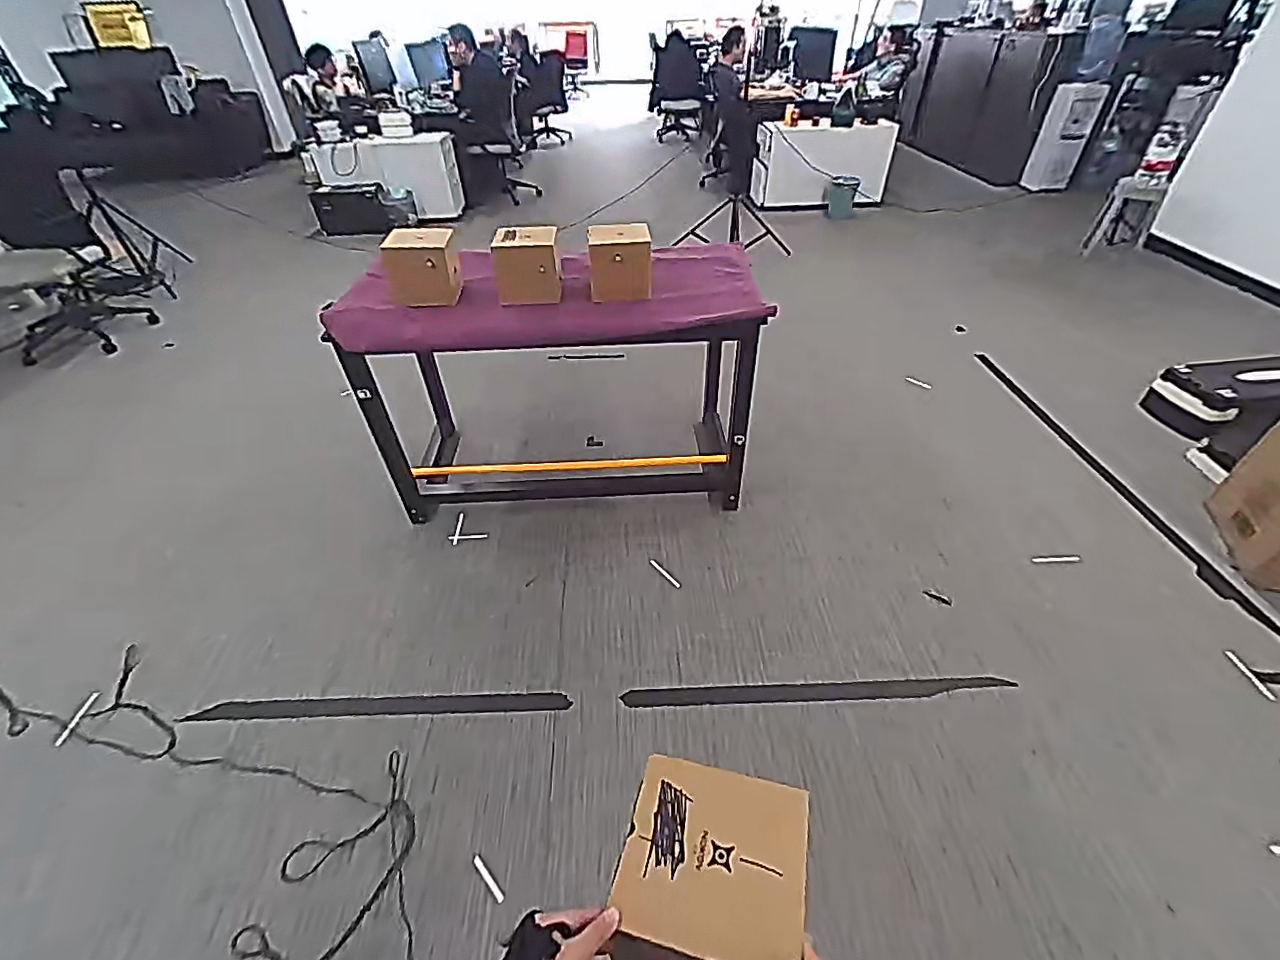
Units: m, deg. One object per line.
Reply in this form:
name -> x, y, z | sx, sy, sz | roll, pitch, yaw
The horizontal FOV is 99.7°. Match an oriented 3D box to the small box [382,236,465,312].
small box -> -0.626, -0.605, 1.590 | 0.179, 0.176, 0.168 | -3, 40, -5

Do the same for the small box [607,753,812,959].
small box -> 0.080, 0.426, 0.566 | 0.179, 0.176, 0.168 | 6, 34, 16

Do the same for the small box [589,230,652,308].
small box -> -0.057, -0.622, 1.598 | 0.179, 0.176, 0.168 | -5, 41, -2
